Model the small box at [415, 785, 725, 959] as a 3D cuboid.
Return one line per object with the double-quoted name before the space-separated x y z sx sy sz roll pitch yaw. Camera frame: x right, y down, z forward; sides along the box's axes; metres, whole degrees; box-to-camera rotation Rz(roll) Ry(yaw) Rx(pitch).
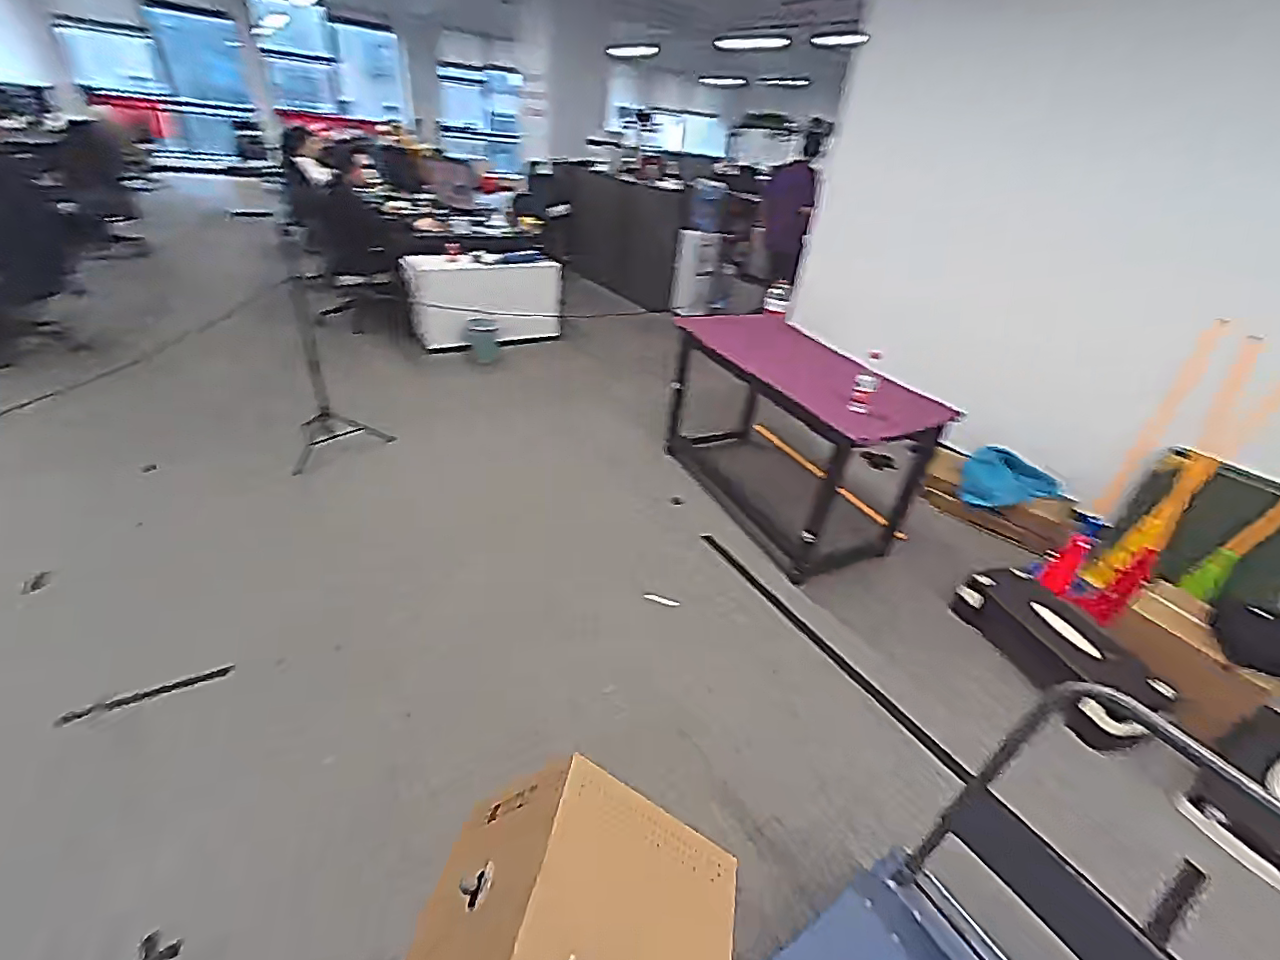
"small box" -0.056 0.353 0.397 0.179 0.168 0.176 40 33 -14
